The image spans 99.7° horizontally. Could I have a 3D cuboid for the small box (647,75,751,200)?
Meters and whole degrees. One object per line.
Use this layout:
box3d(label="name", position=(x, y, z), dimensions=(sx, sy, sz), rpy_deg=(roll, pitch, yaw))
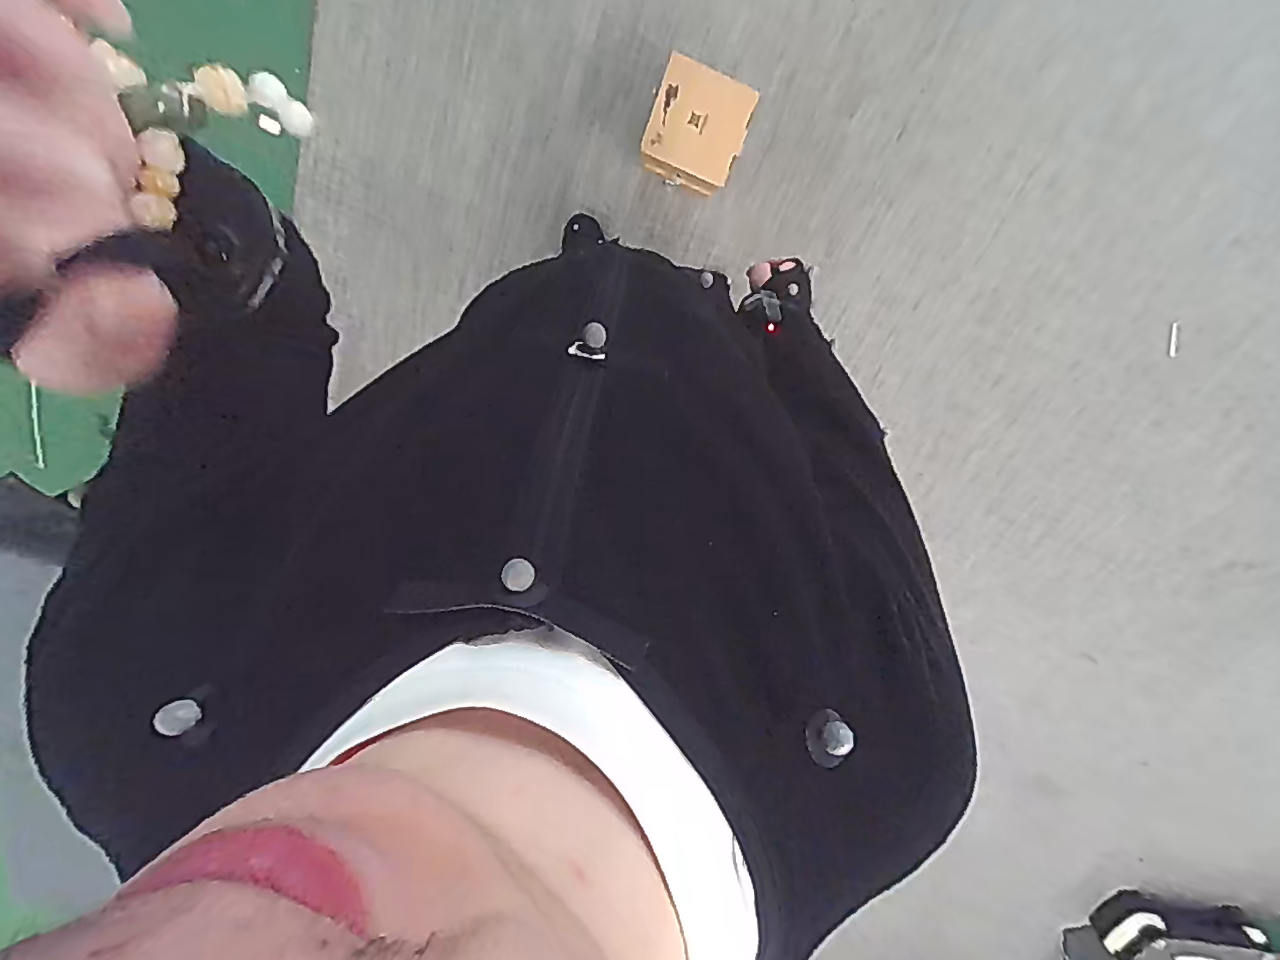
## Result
box3d(label="small box", position=(0.124, -0.750, 1.207), dimensions=(0.168, 0.176, 0.179), rpy_deg=(22, 114, -7))
